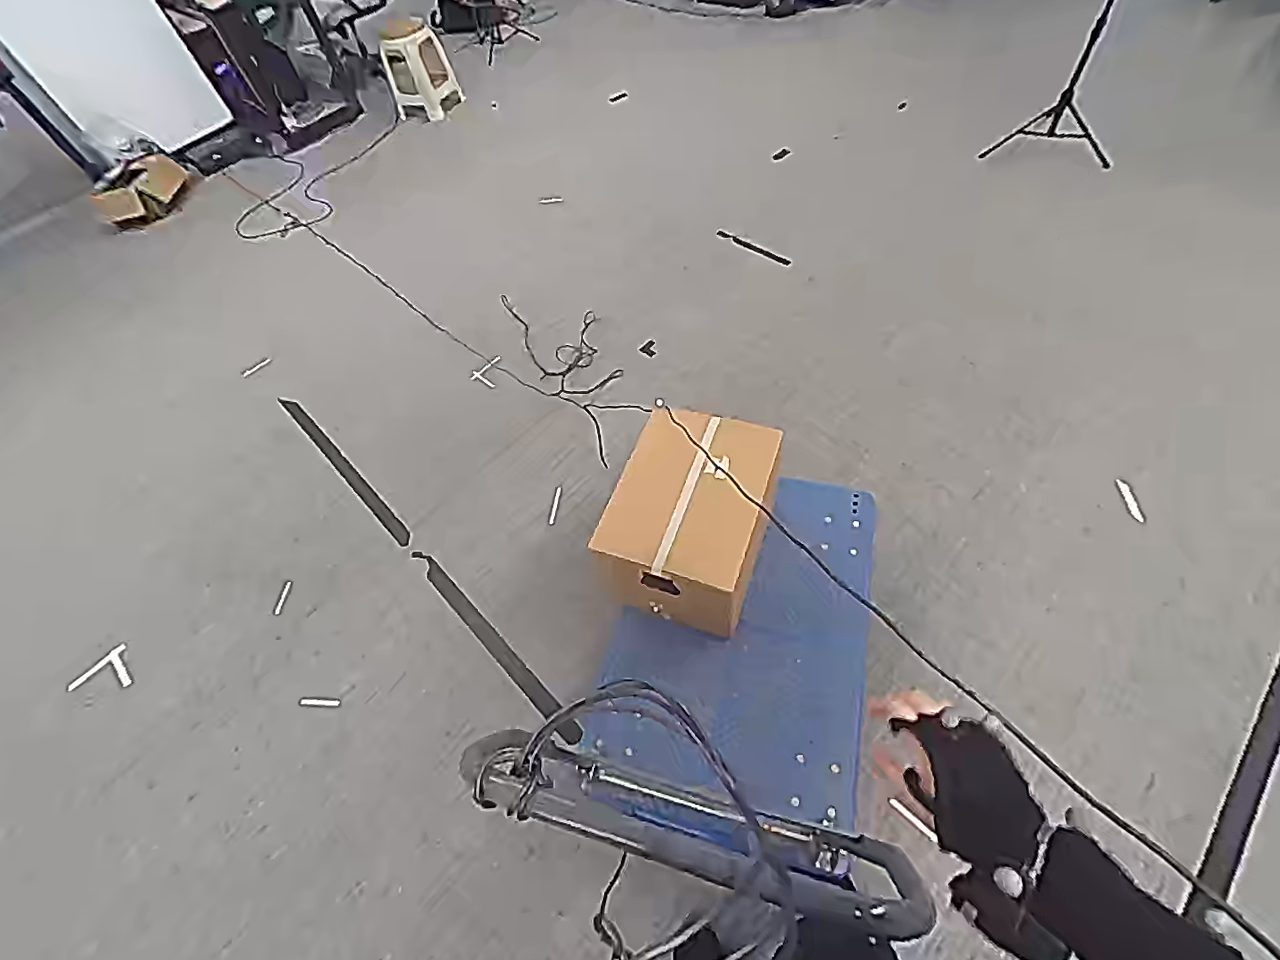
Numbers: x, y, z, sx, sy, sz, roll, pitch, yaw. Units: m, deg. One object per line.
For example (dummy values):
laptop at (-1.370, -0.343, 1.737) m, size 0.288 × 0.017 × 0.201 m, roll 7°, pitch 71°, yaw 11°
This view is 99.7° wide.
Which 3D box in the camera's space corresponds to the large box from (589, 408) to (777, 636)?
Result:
large box at (0.120, 0.100, 1.284) m, size 0.320 × 0.320 × 0.408 m, roll 15°, pitch 60°, yaw 17°
